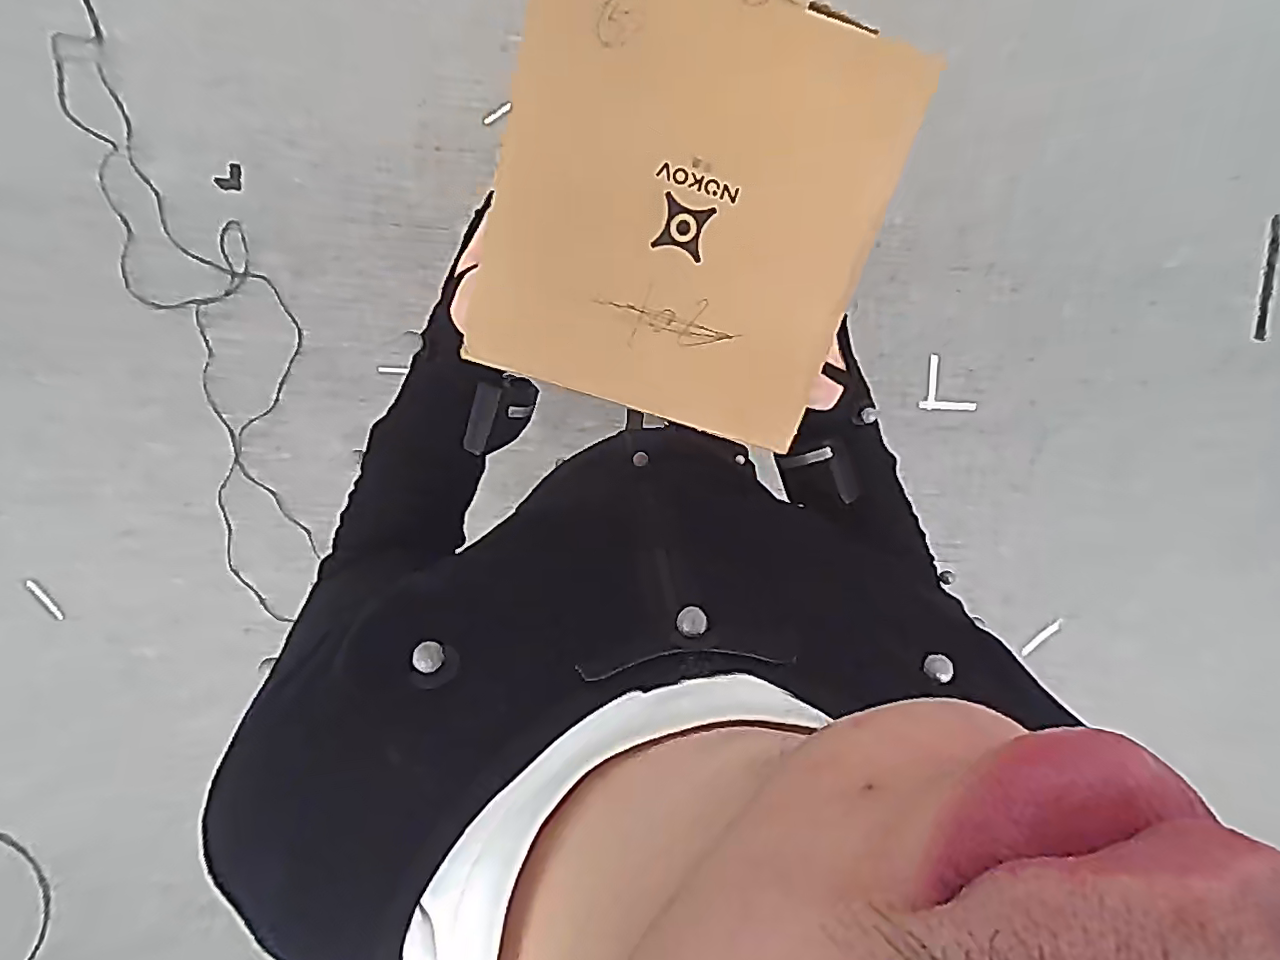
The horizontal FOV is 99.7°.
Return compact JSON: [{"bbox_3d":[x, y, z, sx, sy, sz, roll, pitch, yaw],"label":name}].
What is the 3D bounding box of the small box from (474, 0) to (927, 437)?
[{"bbox_3d":[0.020,-0.149,0.322,0.168,0.176,0.179,17,109,-6],"label":"small box"}]
